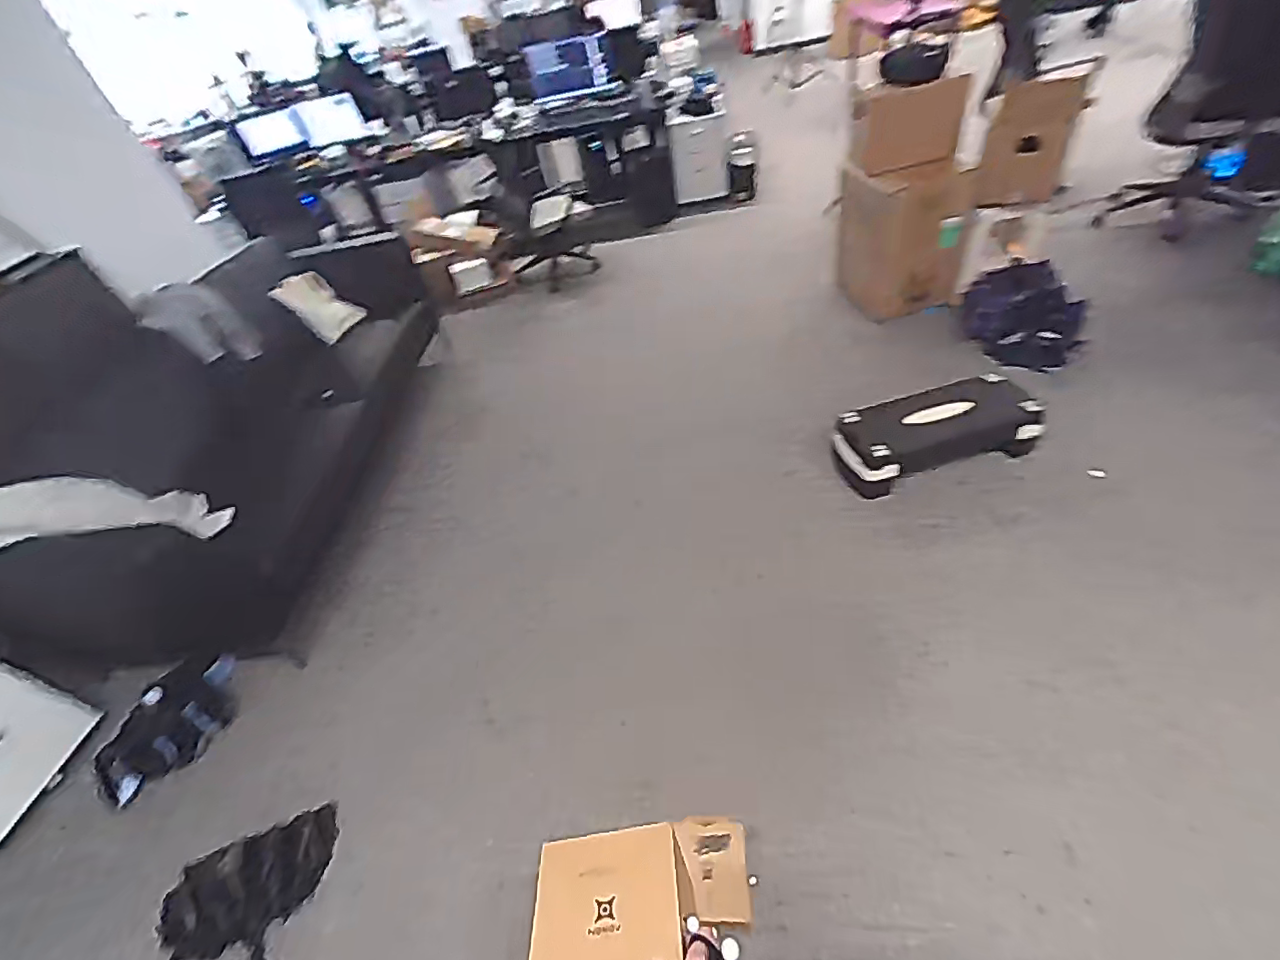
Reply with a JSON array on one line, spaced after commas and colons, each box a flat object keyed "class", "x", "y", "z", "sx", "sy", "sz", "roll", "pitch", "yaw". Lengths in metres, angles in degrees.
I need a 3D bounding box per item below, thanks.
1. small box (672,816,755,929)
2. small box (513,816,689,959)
[{"class": "small box", "x": 0.162, "y": 0.868, "z": 1.197, "sx": 0.168, "sy": 0.176, "sz": 0.179, "roll": -6, "pitch": 45, "yaw": 10}, {"class": "small box", "x": -0.036, "y": 0.535, "z": 0.623, "sx": 0.168, "sy": 0.176, "sz": 0.179, "roll": -13, "pitch": 26, "yaw": 3}]
